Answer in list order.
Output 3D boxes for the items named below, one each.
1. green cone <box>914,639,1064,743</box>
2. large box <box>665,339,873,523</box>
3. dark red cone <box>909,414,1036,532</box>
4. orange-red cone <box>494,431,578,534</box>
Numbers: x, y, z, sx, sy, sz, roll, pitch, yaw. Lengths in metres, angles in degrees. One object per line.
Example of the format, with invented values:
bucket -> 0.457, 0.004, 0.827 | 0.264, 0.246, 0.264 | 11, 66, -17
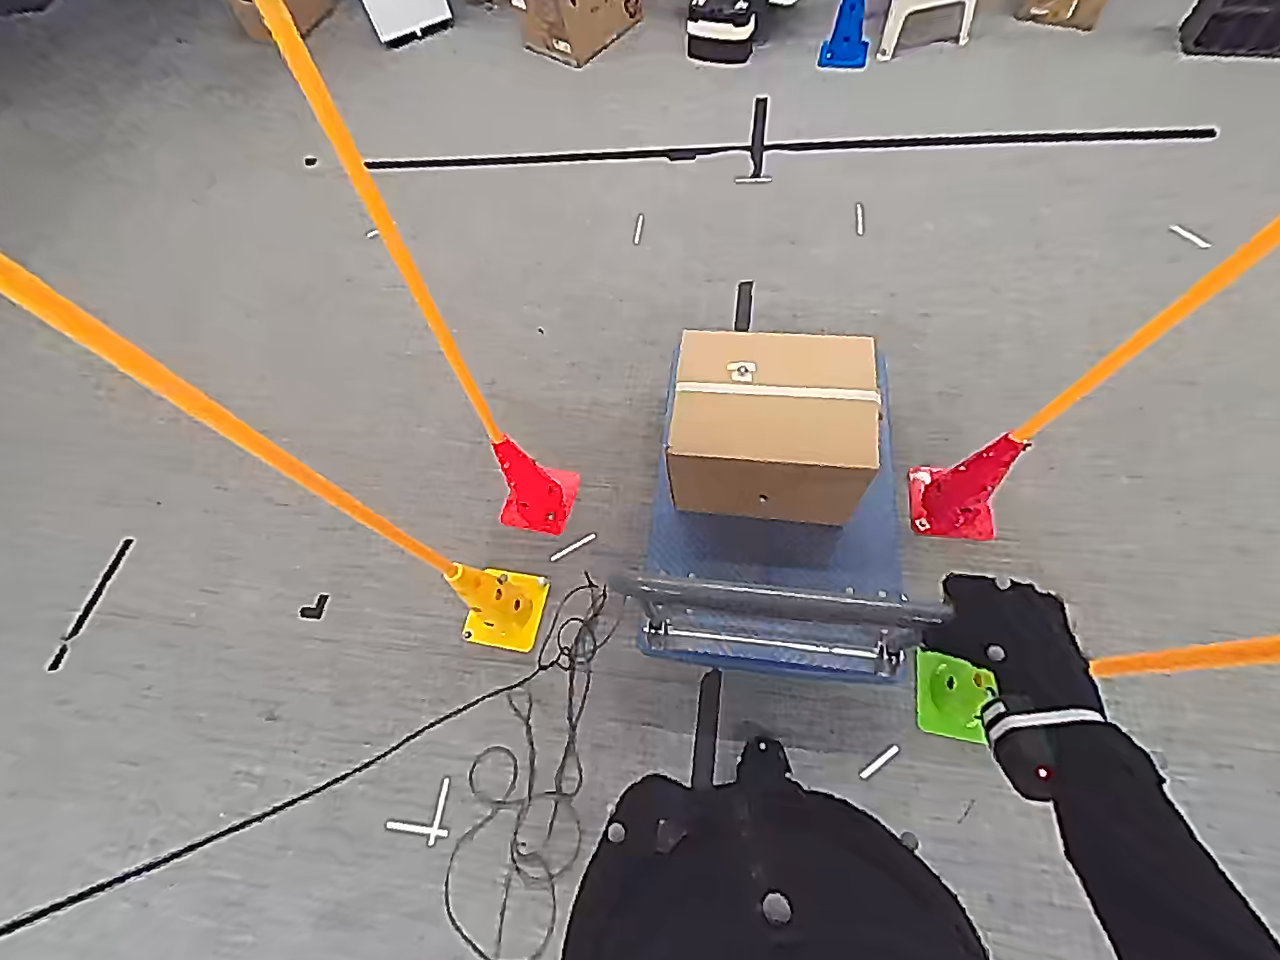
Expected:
green cone -> 0.724, 0.408, 1.095 | 0.202, 0.368, 0.200 | 8, 65, 10
large box -> 0.284, -0.103, 1.243 | 0.408, 0.320, 0.320 | 4, 66, 10
dark red cone -> 0.807, -0.033, 1.279 | 0.201, 0.394, 0.202 | 5, 65, 8
orange-red cone -> -0.315, -0.025, 1.445 | 0.198, 0.360, 0.199 | 12, 65, 12
